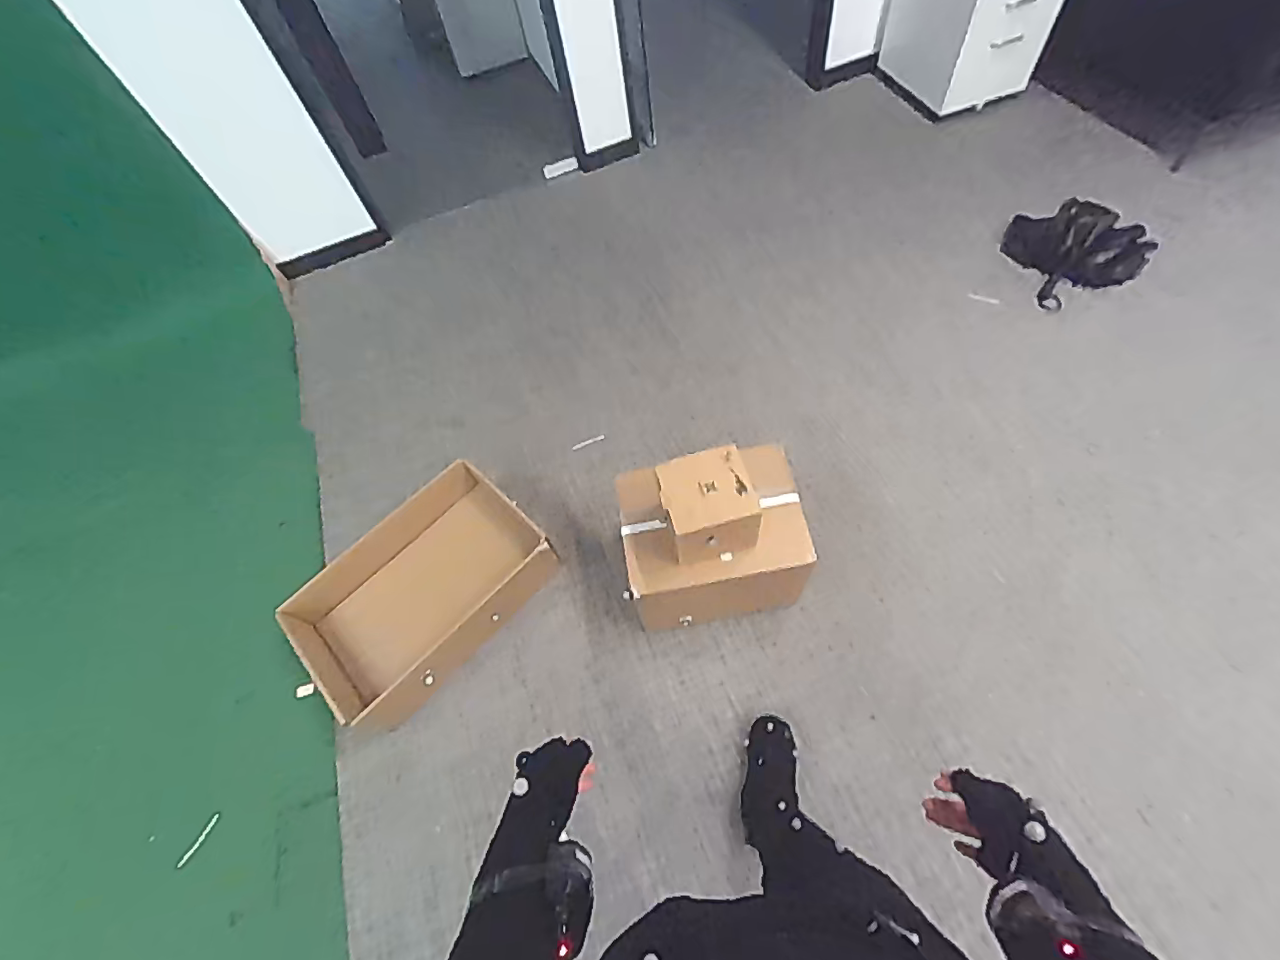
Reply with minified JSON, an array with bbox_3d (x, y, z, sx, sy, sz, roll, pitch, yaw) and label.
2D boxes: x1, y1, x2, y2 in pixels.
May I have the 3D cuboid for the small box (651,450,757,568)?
[{"bbox_3d":[0.134,0.068,1.133,0.179,0.176,0.168,-16,60,-1],"label":"small box"}]
